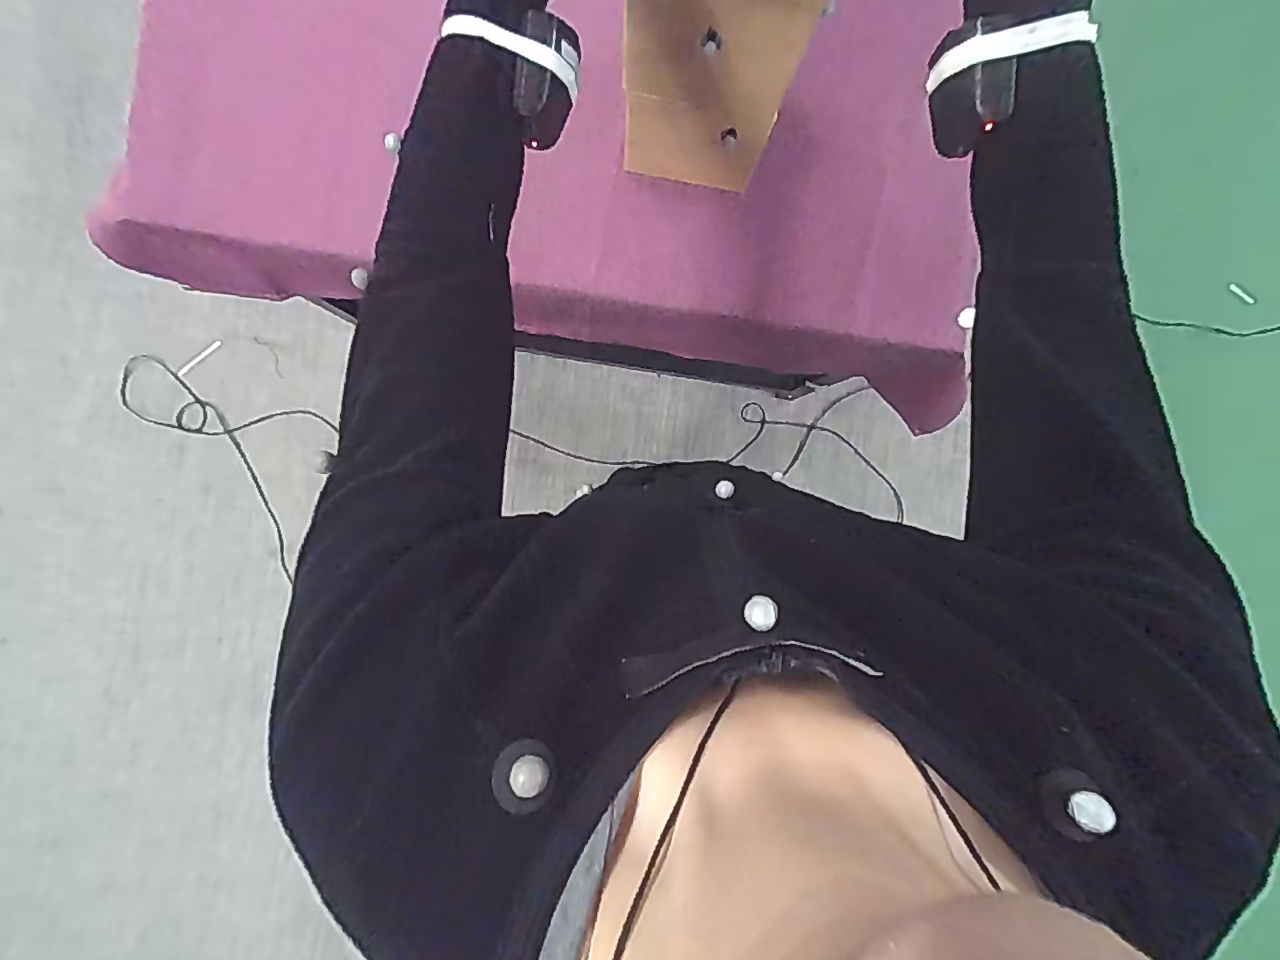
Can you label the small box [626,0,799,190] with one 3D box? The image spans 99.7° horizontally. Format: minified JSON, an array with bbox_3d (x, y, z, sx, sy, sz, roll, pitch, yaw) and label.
[{"bbox_3d":[0.081,-0.502,0.694,0.179,0.176,0.168,10,90,-3],"label":"small box"}]
